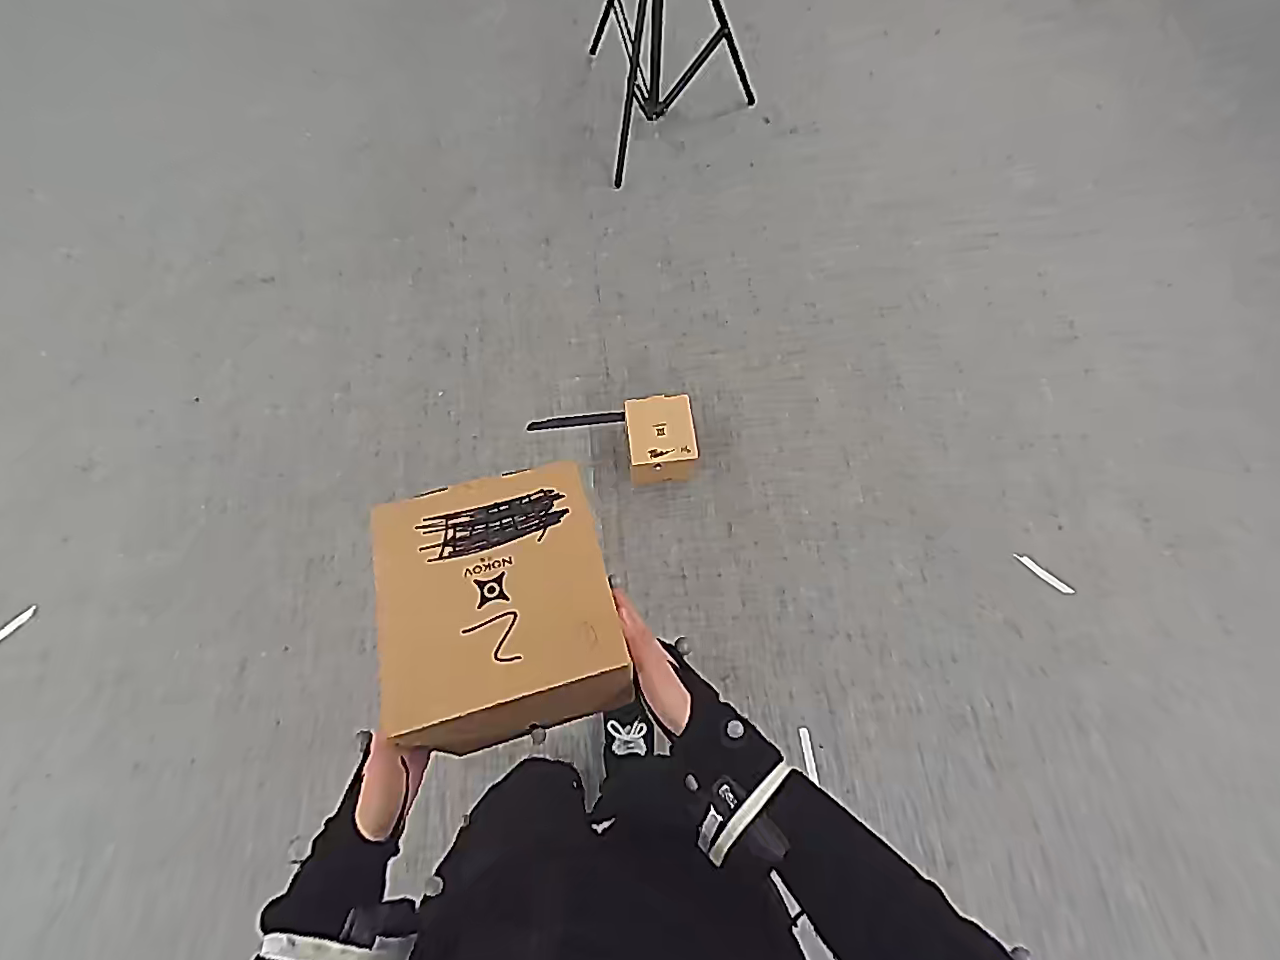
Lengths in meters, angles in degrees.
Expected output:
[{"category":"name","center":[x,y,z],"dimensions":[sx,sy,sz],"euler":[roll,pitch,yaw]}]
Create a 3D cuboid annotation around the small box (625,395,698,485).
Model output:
[{"category":"small box","center":[0.050,-0.100,1.412],"dimensions":[0.168,0.176,0.179],"euler":[-7,72,-3]}]
